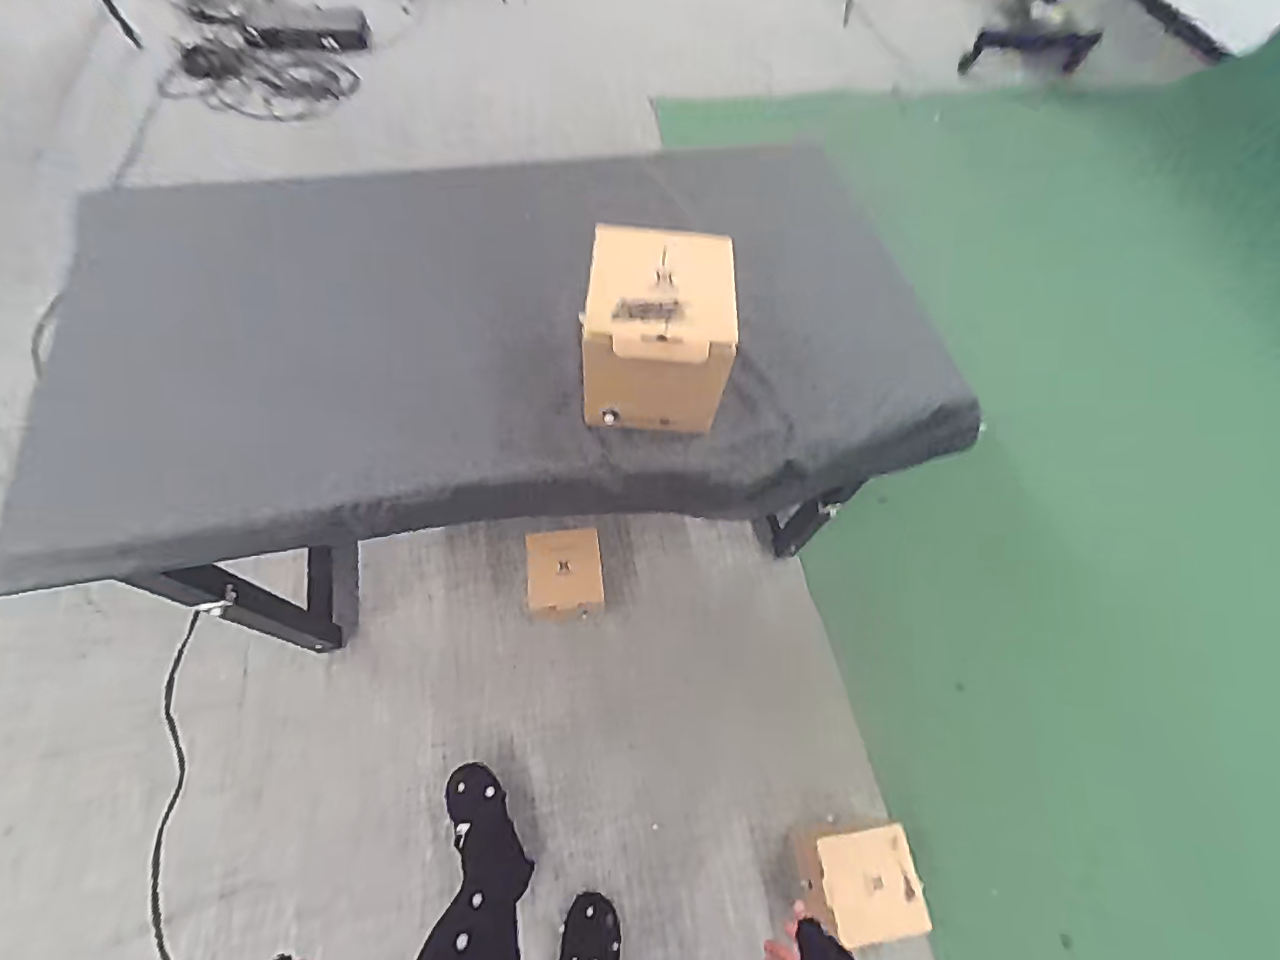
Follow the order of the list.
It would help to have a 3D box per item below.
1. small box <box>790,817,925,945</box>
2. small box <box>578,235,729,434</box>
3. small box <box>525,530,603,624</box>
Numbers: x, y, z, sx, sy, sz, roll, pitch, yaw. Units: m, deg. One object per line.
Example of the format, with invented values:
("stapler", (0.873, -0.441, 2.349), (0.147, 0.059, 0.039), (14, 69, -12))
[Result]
("small box", (0.408, 0.770, 1.057), (0.179, 0.176, 0.168), (-5, 64, -6))
("small box", (0.015, -0.175, 0.685), (0.168, 0.176, 0.179), (5, 61, -2))
("small box", (-0.177, 0.236, 1.280), (0.168, 0.176, 0.179), (-5, 62, -8))
